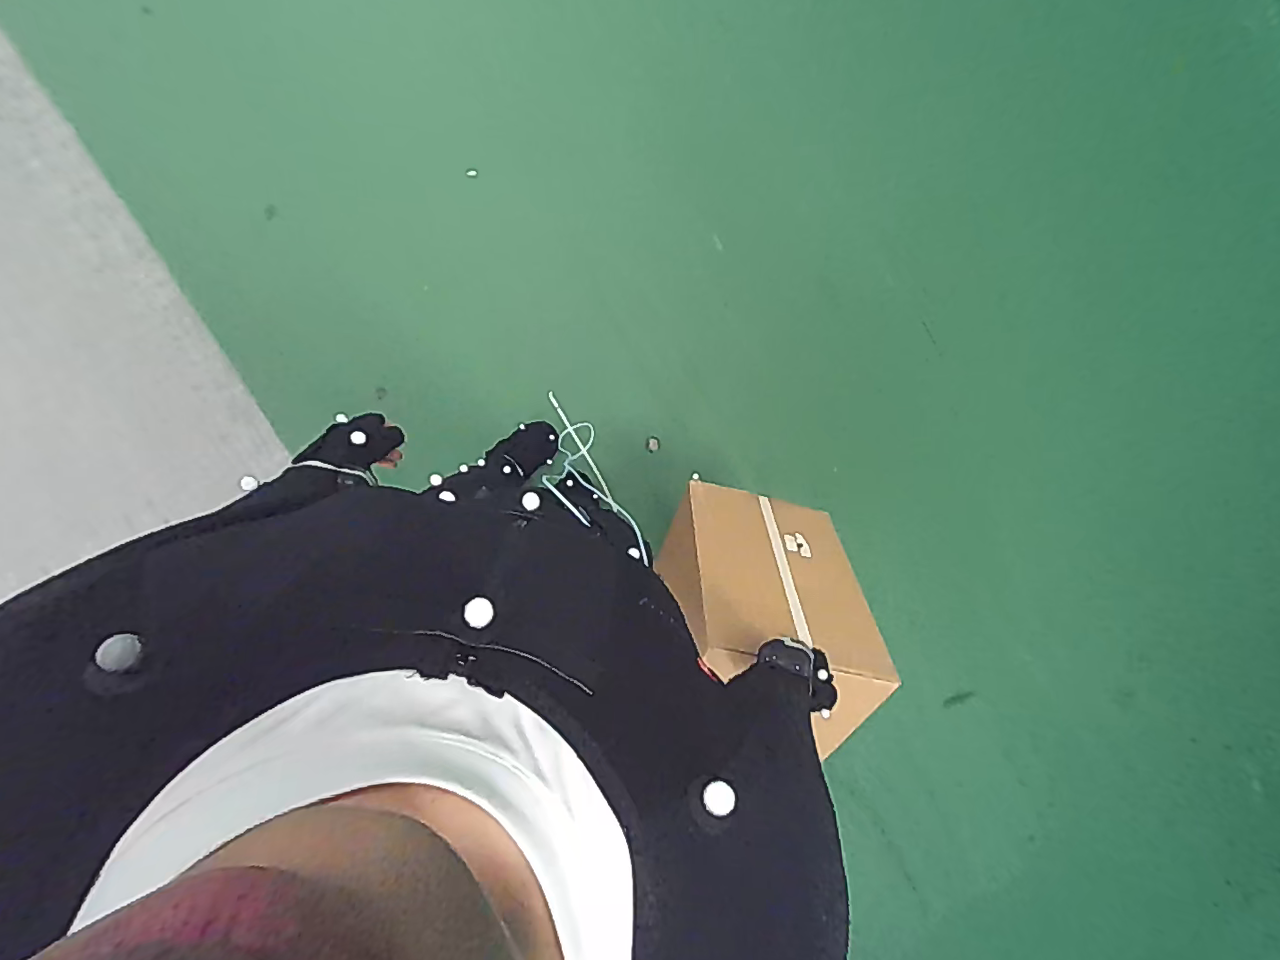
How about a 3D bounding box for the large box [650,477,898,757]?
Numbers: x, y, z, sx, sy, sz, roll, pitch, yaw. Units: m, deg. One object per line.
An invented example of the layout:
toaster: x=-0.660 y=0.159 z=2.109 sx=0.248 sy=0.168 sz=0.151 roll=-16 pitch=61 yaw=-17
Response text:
large box: x=0.210 y=0.258 z=1.048 sx=0.320 sy=0.408 sz=0.320 roll=13 pitch=125 yaw=-10
